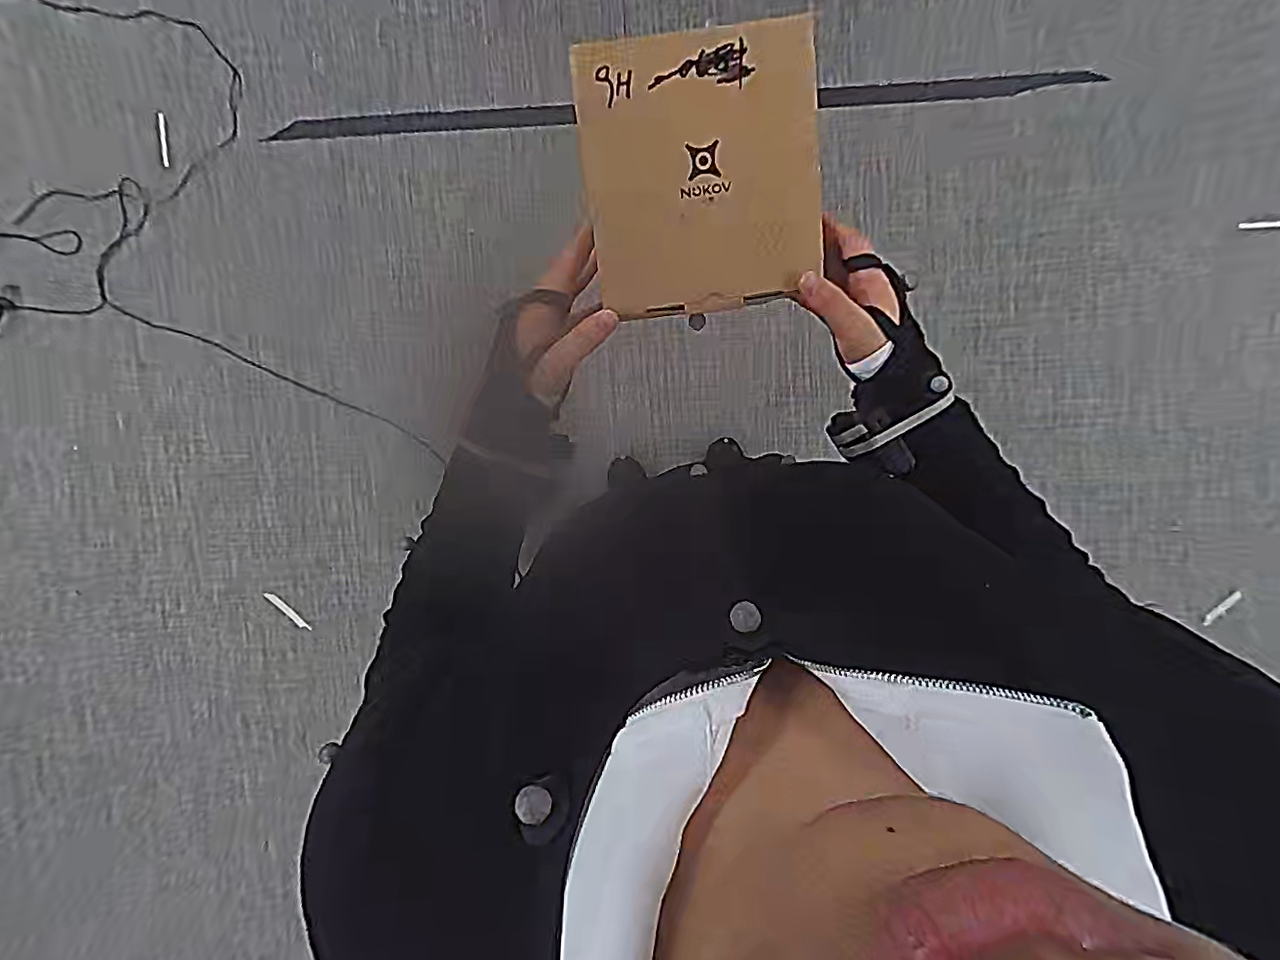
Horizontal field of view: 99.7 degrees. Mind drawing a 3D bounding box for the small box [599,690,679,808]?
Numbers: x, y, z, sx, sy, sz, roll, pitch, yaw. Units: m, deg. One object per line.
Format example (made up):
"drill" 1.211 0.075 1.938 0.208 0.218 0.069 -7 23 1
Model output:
"small box" 0.001 0.586 1.192 0.168 0.176 0.179 -1 94 1
